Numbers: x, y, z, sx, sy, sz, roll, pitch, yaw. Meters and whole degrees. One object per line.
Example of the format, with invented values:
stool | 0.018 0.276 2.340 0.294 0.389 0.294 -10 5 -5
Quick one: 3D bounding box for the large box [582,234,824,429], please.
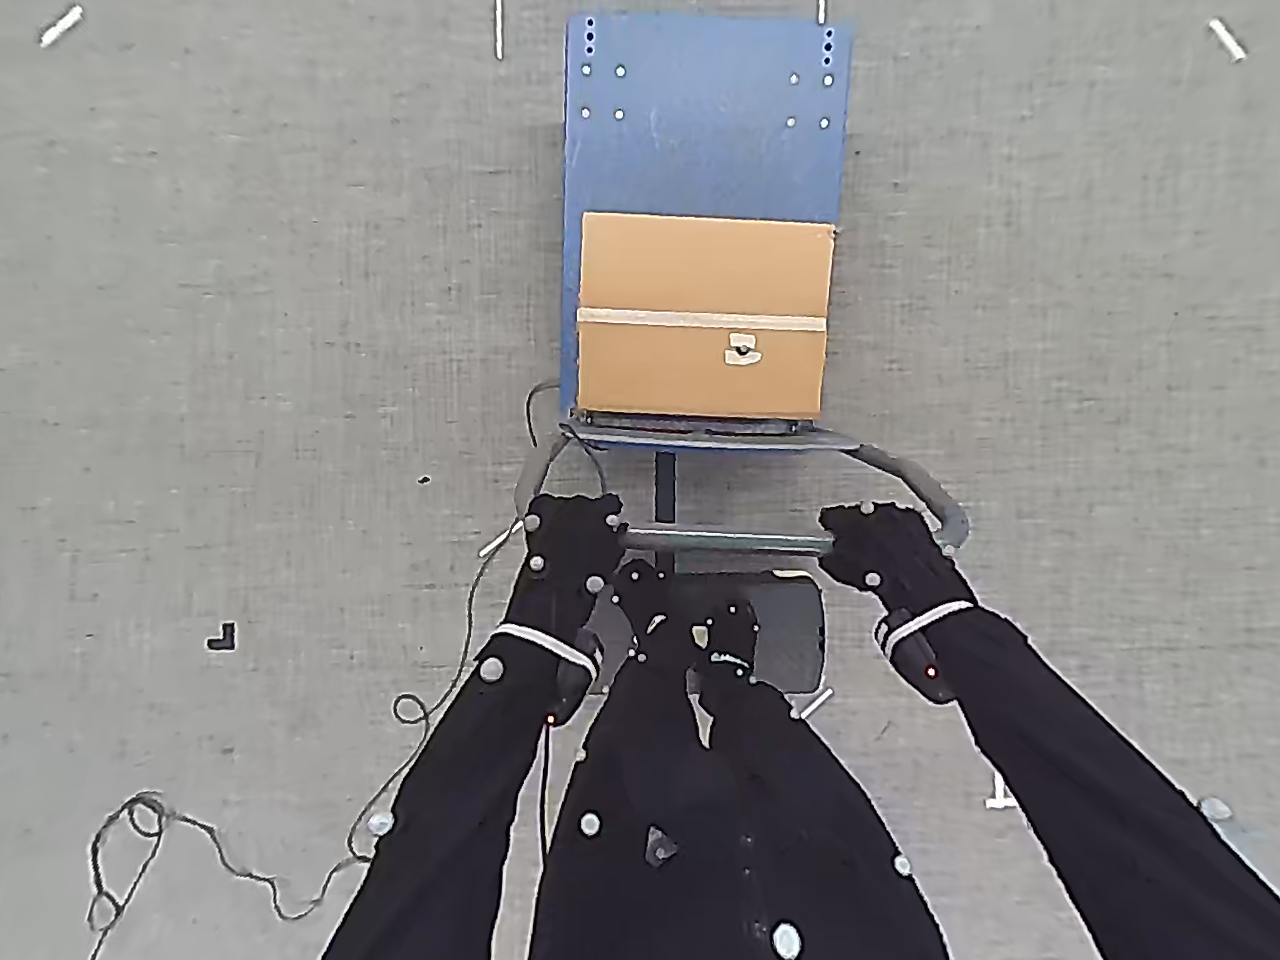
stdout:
large box | 0.097 -0.264 1.052 0.408 0.320 0.320 2 99 -2
